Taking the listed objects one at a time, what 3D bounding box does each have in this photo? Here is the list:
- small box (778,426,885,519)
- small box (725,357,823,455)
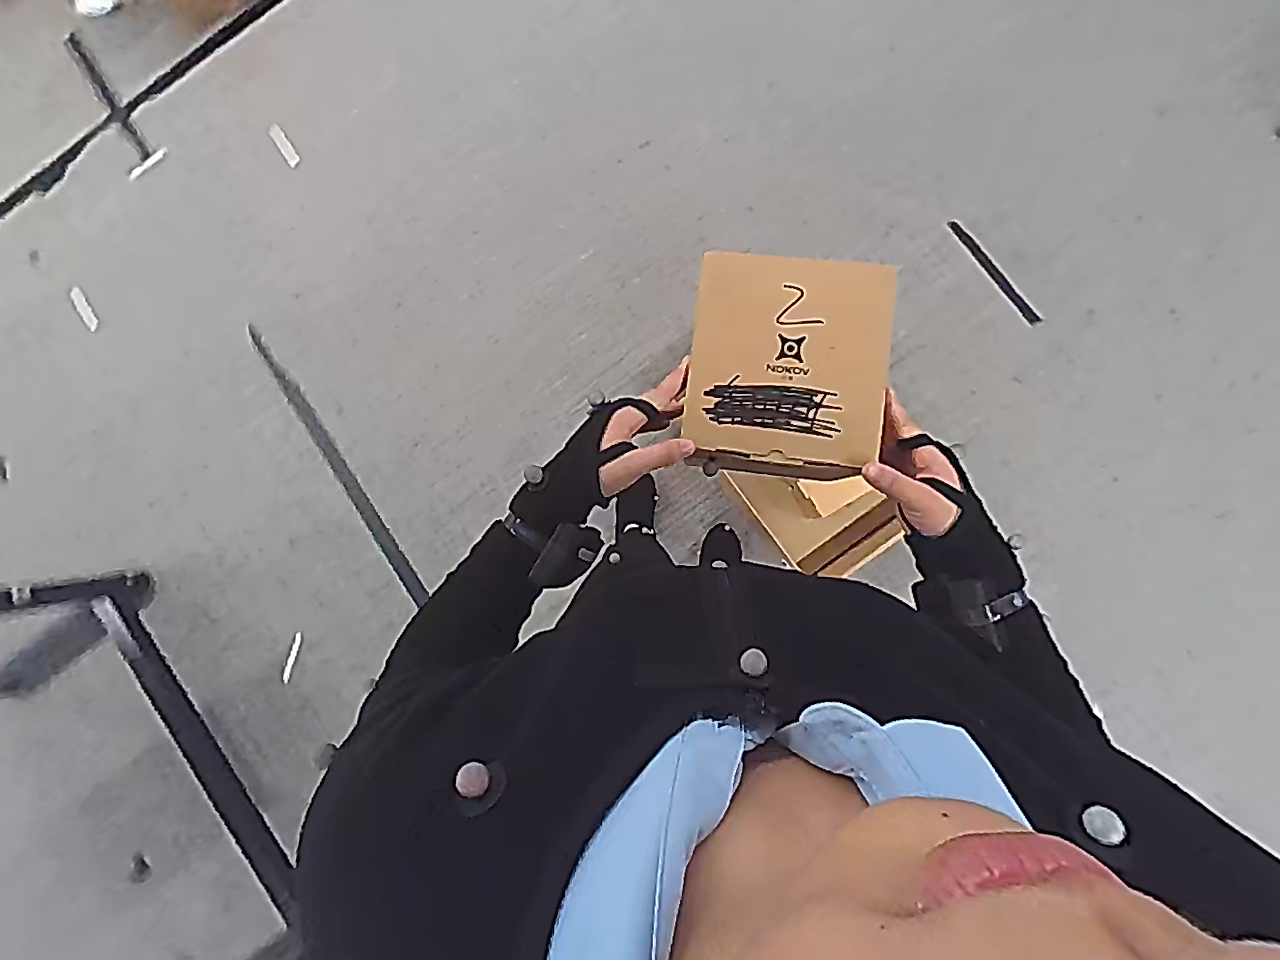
[{"bbox_3d":[0.472,-0.015,1.363,0.179,0.176,0.168,-31,85,2],"label":"small box"},{"bbox_3d":[0.330,-0.179,1.379,0.179,0.176,0.168,-38,87,1],"label":"small box"}]
